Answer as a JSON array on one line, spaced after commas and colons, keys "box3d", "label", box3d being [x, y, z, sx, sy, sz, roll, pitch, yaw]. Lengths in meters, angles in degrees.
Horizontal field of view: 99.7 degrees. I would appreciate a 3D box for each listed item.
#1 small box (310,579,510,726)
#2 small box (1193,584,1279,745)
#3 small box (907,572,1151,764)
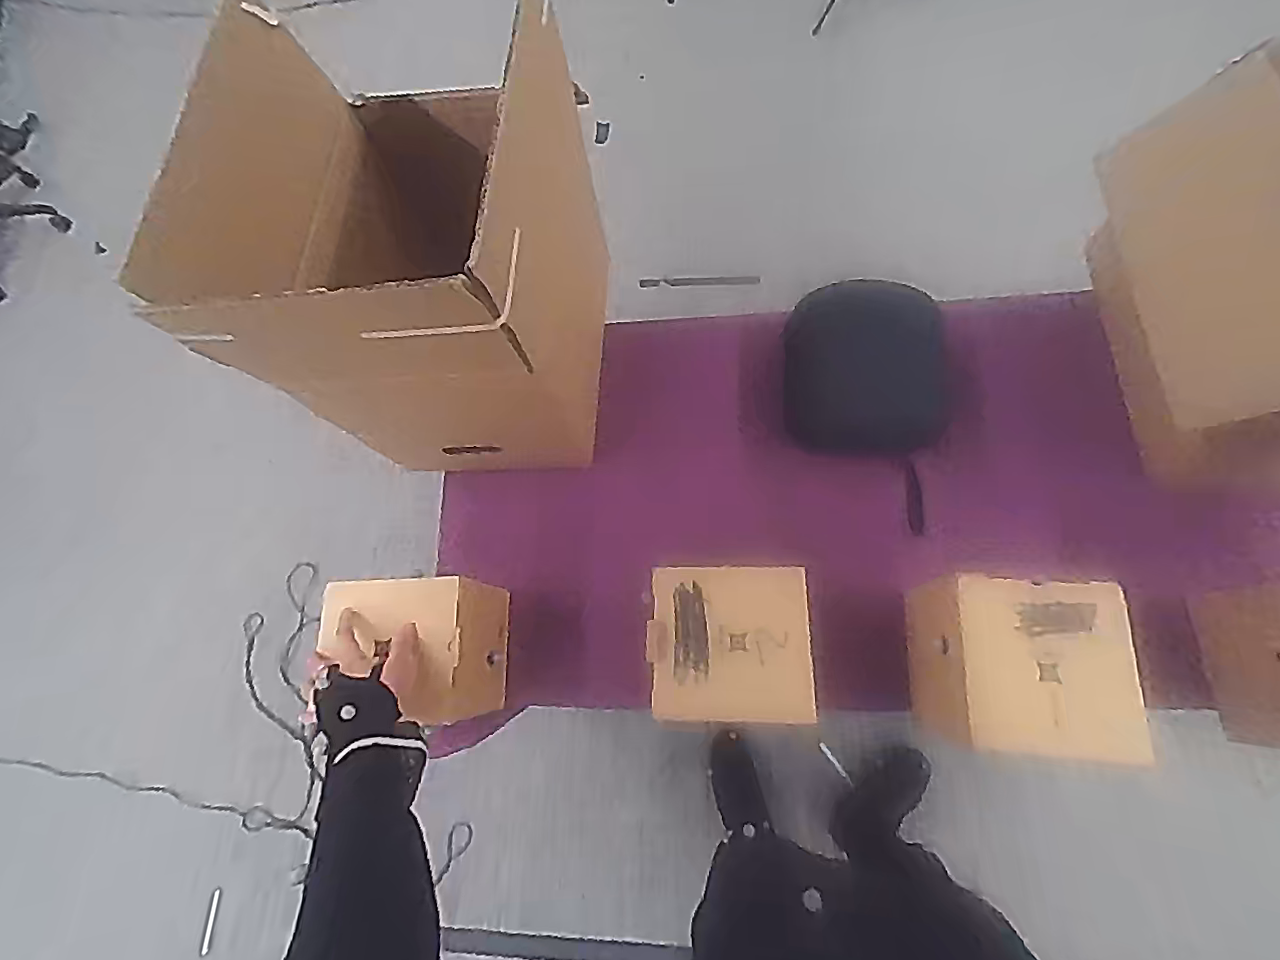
[{"box3d": [-0.286, 0.227, 0.712, 0.179, 0.176, 0.168, -4, 72, 5], "label": "small box"}, {"box3d": [0.775, 0.202, 0.589, 0.168, 0.176, 0.179, -2, 72, 8], "label": "small box"}, {"box3d": [0.427, 0.211, 0.630, 0.168, 0.176, 0.179, 2, 73, 8], "label": "small box"}]
